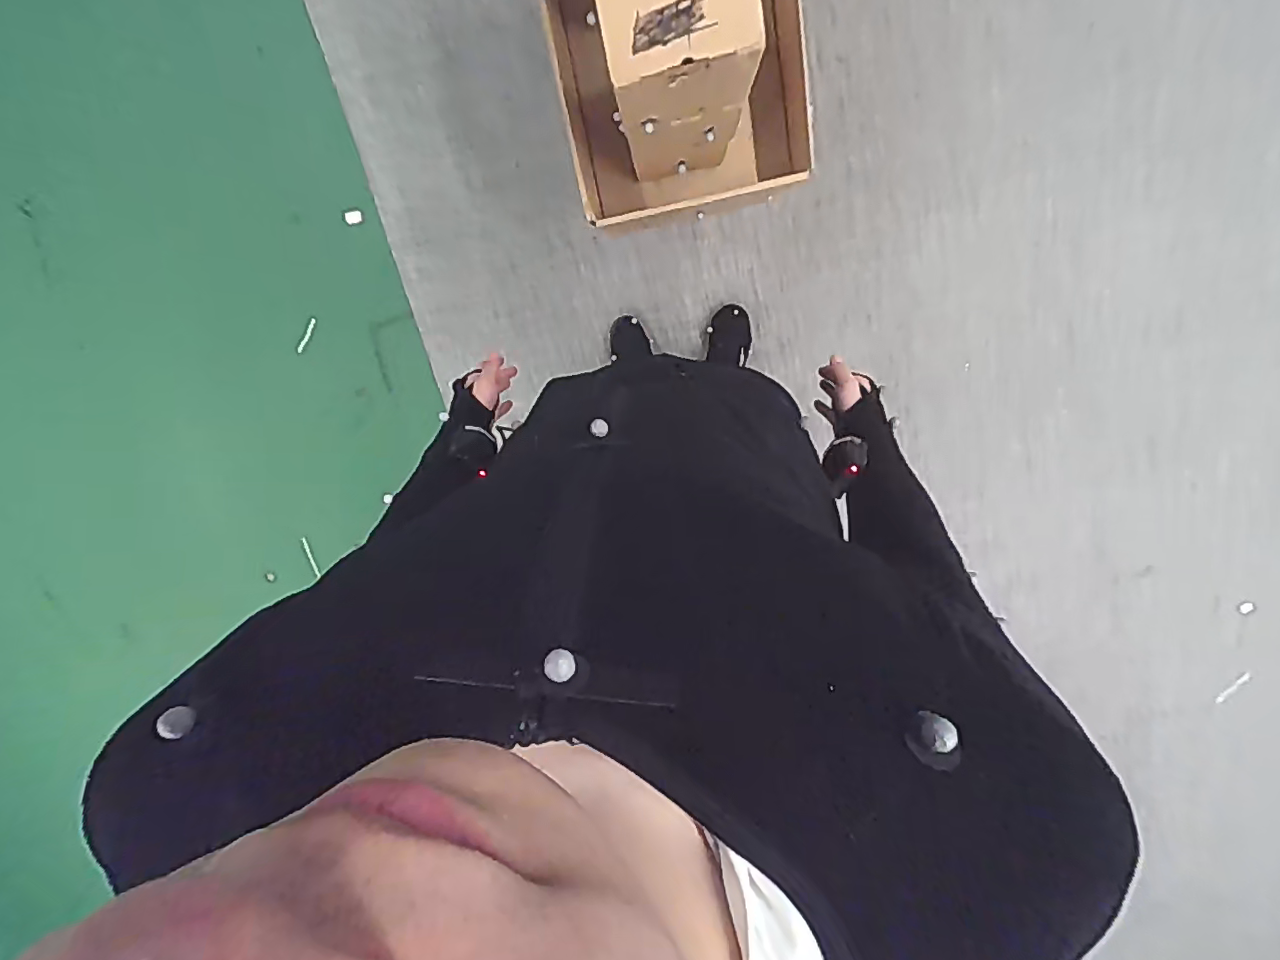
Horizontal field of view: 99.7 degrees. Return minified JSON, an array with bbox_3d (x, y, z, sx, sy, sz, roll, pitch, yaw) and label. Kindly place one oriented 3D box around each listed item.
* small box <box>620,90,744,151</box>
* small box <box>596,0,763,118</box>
[{"bbox_3d":[0.049,-0.591,0.769,0.168,0.176,0.179,-9,107,6],"label":"small box"},{"bbox_3d":[0.037,-0.541,0.614,0.168,0.176,0.179,-10,107,6],"label":"small box"}]
